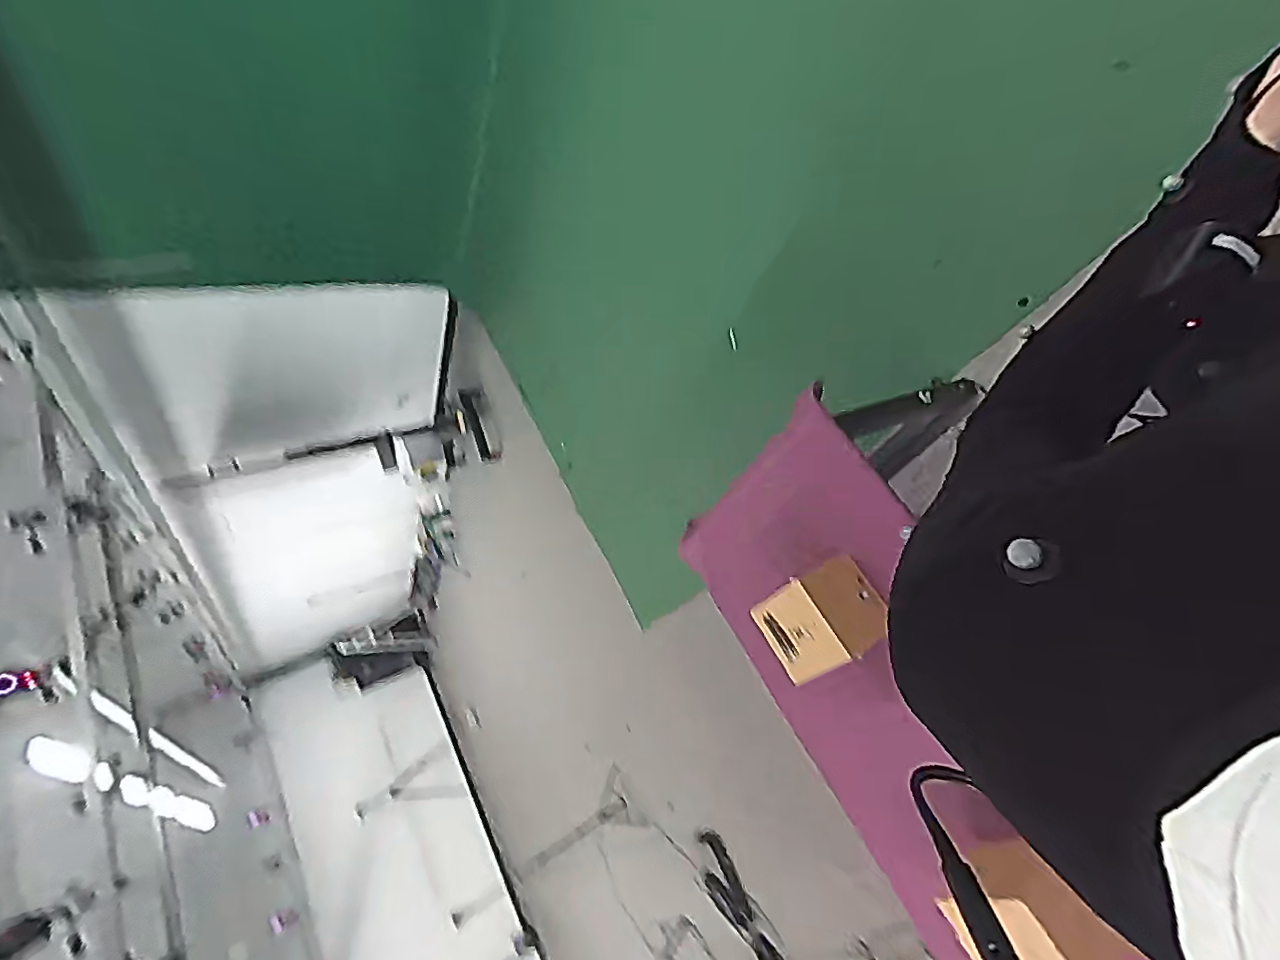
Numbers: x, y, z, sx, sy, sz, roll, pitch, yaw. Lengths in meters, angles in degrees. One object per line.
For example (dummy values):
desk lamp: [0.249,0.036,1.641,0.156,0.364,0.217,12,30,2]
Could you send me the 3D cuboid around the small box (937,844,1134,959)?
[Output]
small box: [0.643,0.731,0.884,0.168,0.176,0.179,57,142,21]
